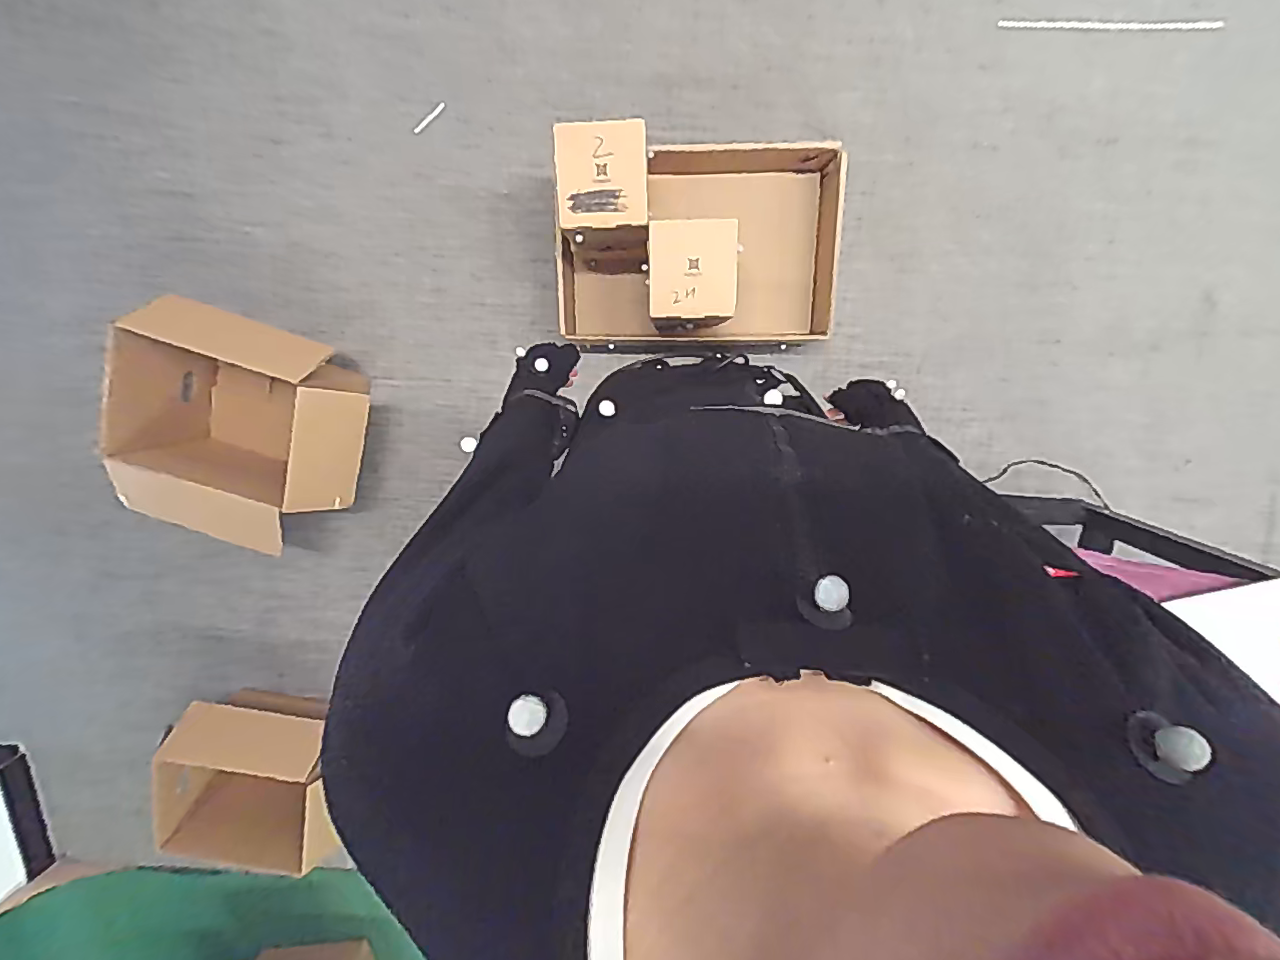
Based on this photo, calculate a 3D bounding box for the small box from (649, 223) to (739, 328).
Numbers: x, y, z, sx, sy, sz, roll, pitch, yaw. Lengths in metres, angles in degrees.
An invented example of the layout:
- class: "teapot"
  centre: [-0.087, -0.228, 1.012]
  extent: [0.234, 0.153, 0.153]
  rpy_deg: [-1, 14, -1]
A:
- class: "small box"
  centre: [0.102, -0.402, 1.085]
  extent: [0.168, 0.176, 0.179]
  rpy_deg: [0, 103, 2]
